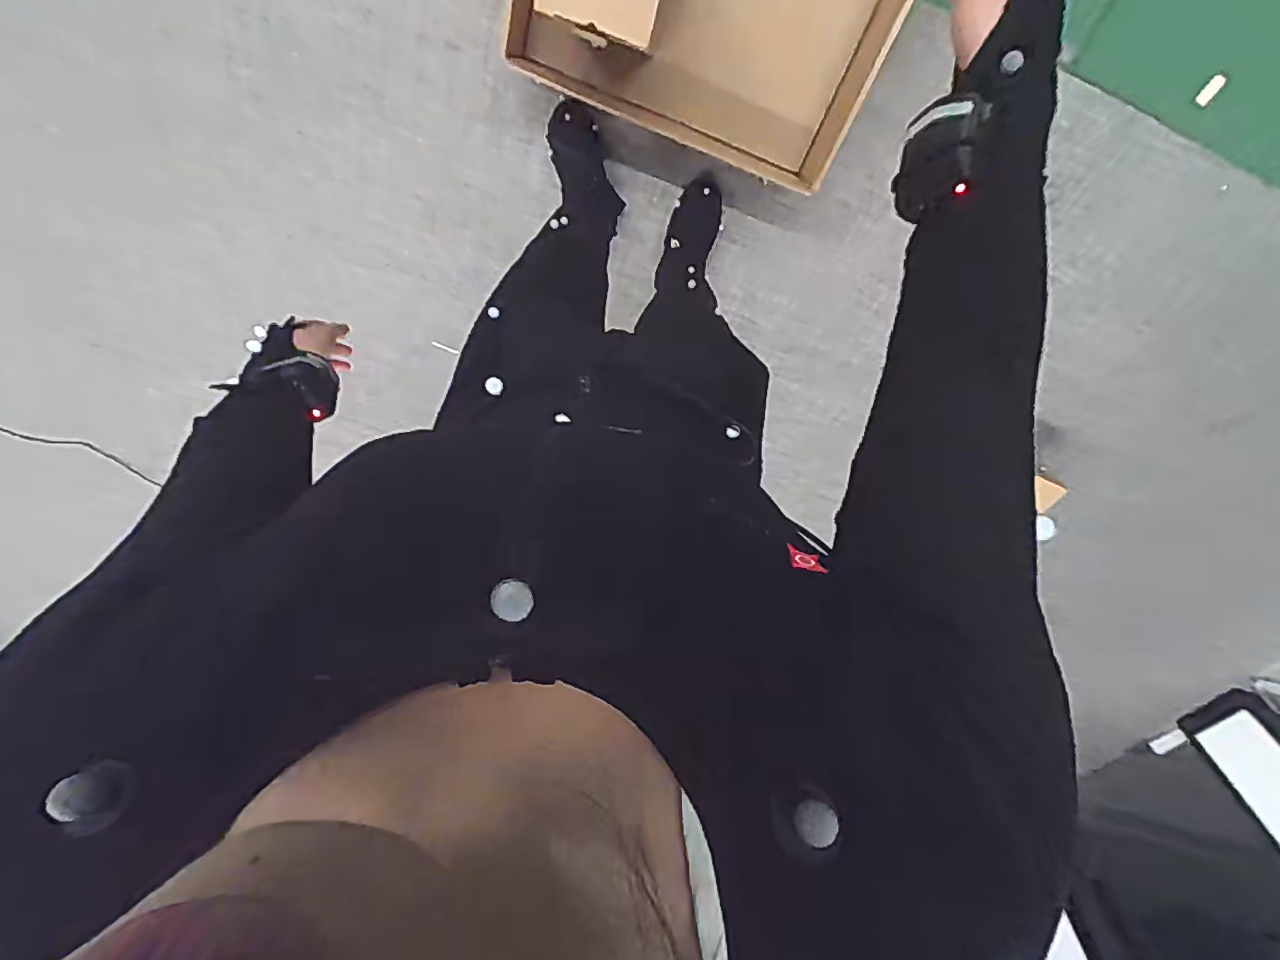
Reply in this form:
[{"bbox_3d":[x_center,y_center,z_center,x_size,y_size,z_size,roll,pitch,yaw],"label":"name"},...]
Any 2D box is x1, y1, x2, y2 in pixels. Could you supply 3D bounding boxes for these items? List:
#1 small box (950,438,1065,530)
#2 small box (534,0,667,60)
[{"bbox_3d":[1.029,0.008,1.530,0.179,0.176,0.168,21,125,-13],"label":"small box"},{"bbox_3d":[-0.039,-0.725,0.759,0.168,0.176,0.179,15,128,-8],"label":"small box"}]
